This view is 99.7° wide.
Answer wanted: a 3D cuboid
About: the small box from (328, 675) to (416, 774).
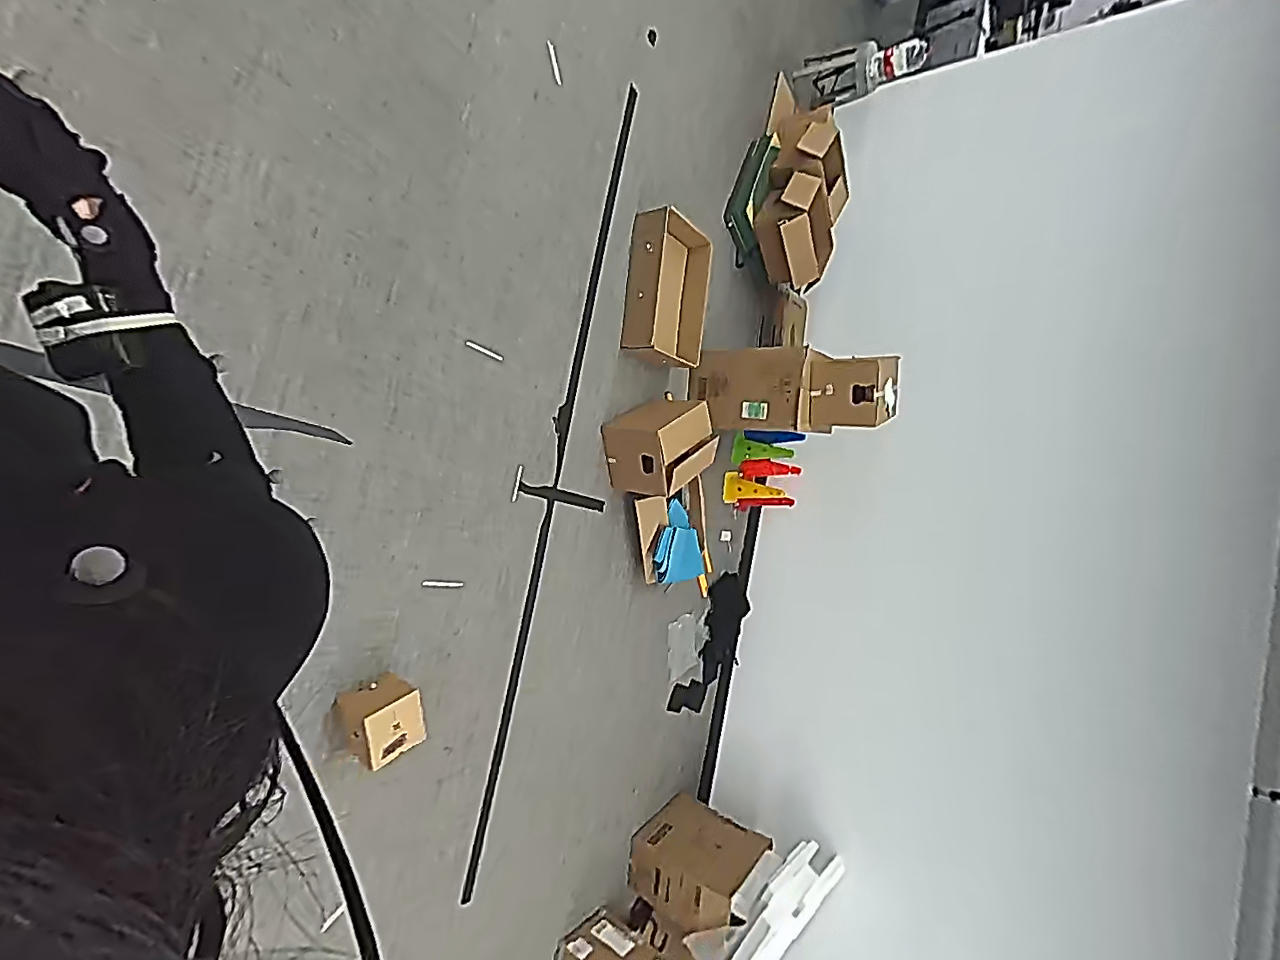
[{"bbox_3d":[-0.784,0.706,1.583,0.168,0.176,0.179,-19,111,-52],"label":"small box"}]
